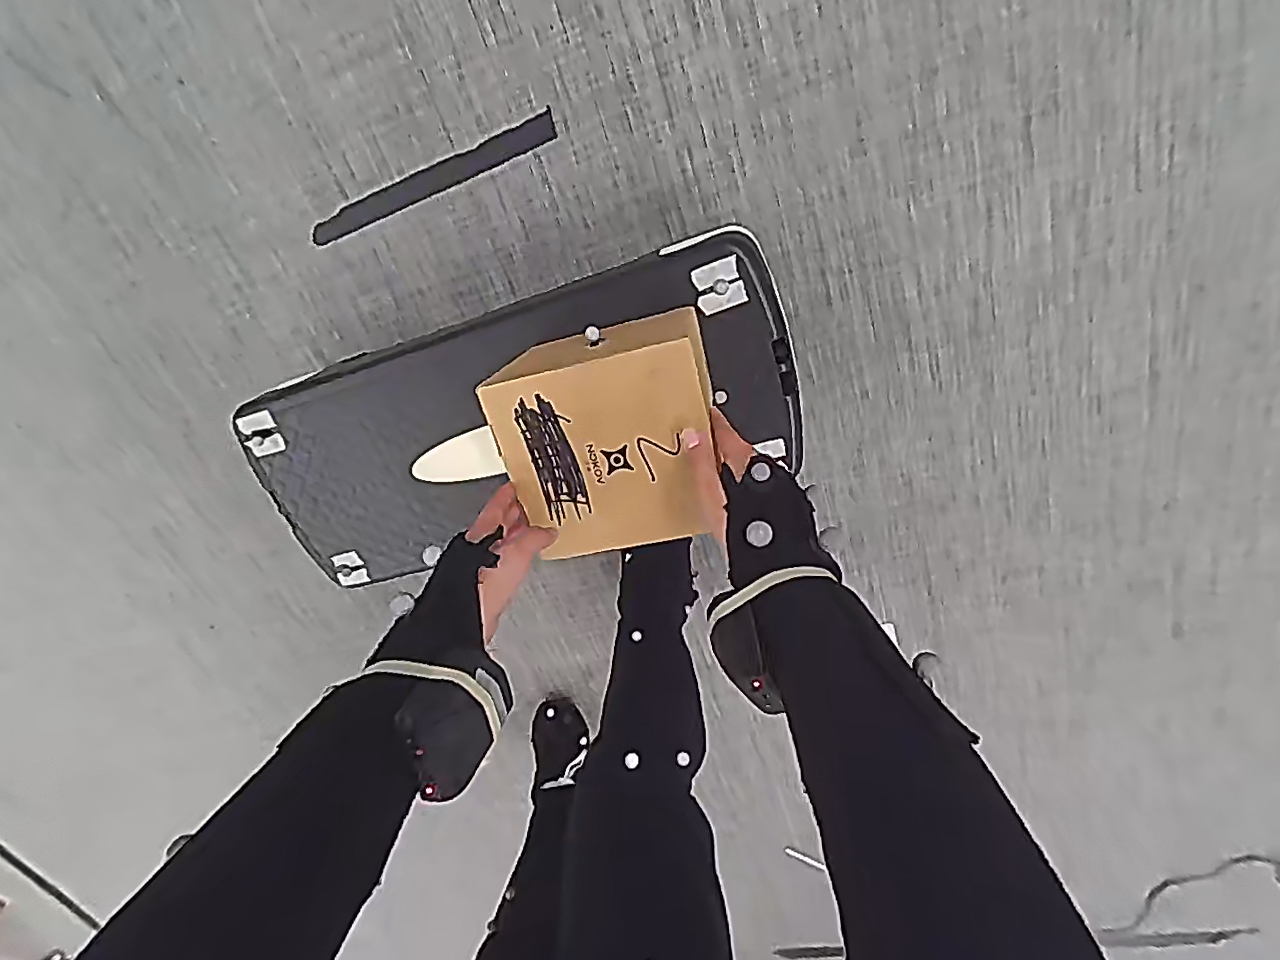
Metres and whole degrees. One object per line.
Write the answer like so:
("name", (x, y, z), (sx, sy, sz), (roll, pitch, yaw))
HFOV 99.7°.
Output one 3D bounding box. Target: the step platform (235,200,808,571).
("step platform", (-0.142, -0.101, 0.695), (0.684, 0.204, 0.286), (-15, 112, 13))
